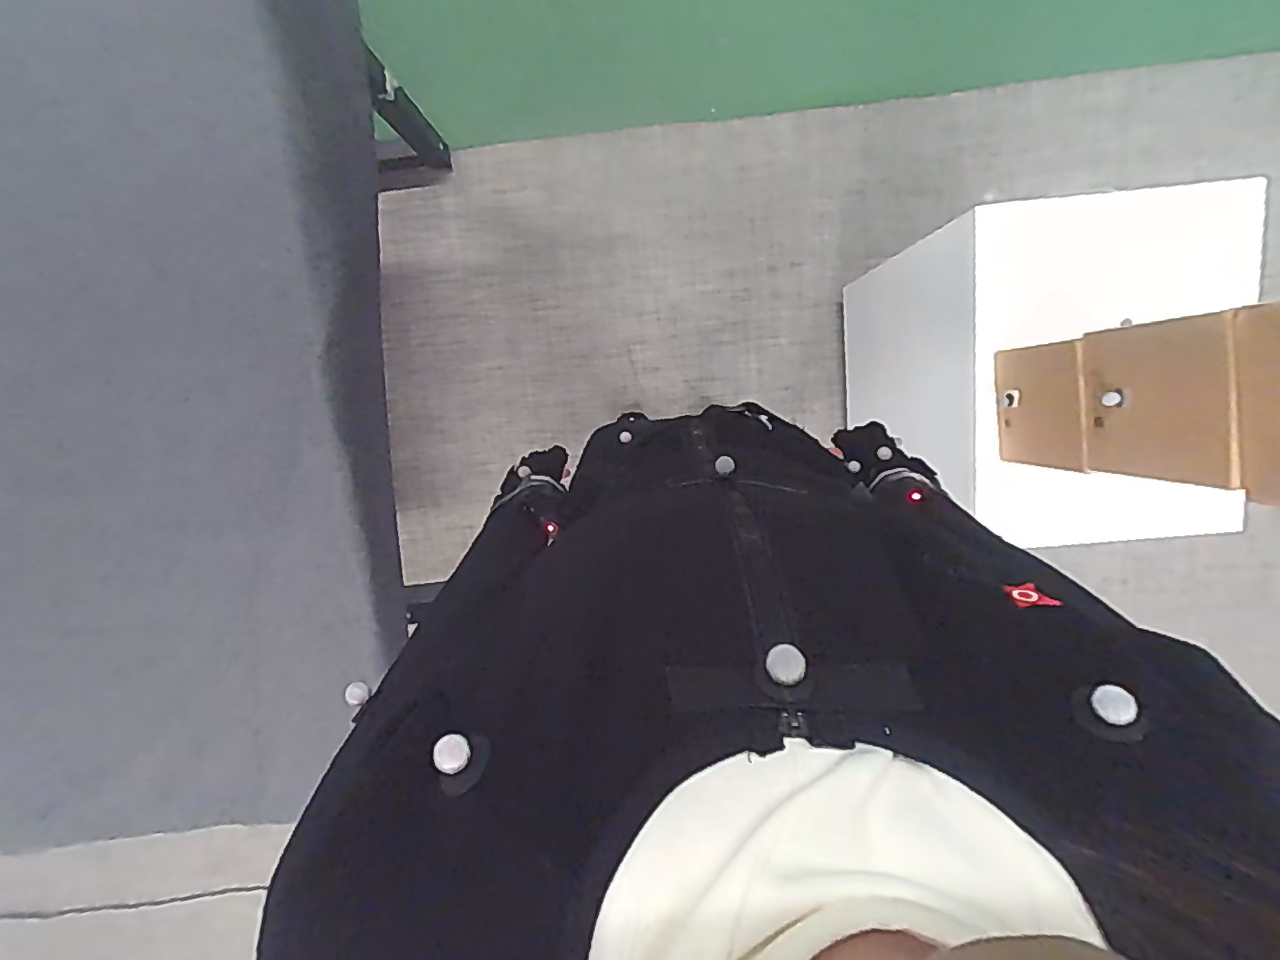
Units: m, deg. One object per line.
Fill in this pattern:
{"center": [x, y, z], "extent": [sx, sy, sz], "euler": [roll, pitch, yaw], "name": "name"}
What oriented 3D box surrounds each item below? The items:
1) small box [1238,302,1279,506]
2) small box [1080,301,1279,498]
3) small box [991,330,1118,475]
{"center": [0.597, -0.065, 0.388], "extent": [0.168, 0.176, 0.179], "euler": [-10, 97, 3], "name": "small box"}
{"center": [0.604, -0.089, 0.550], "extent": [0.179, 0.176, 0.168], "euler": [-11, 98, 2], "name": "small box"}
{"center": [0.604, -0.109, 0.713], "extent": [0.179, 0.176, 0.168], "euler": [-9, 97, 4], "name": "small box"}
